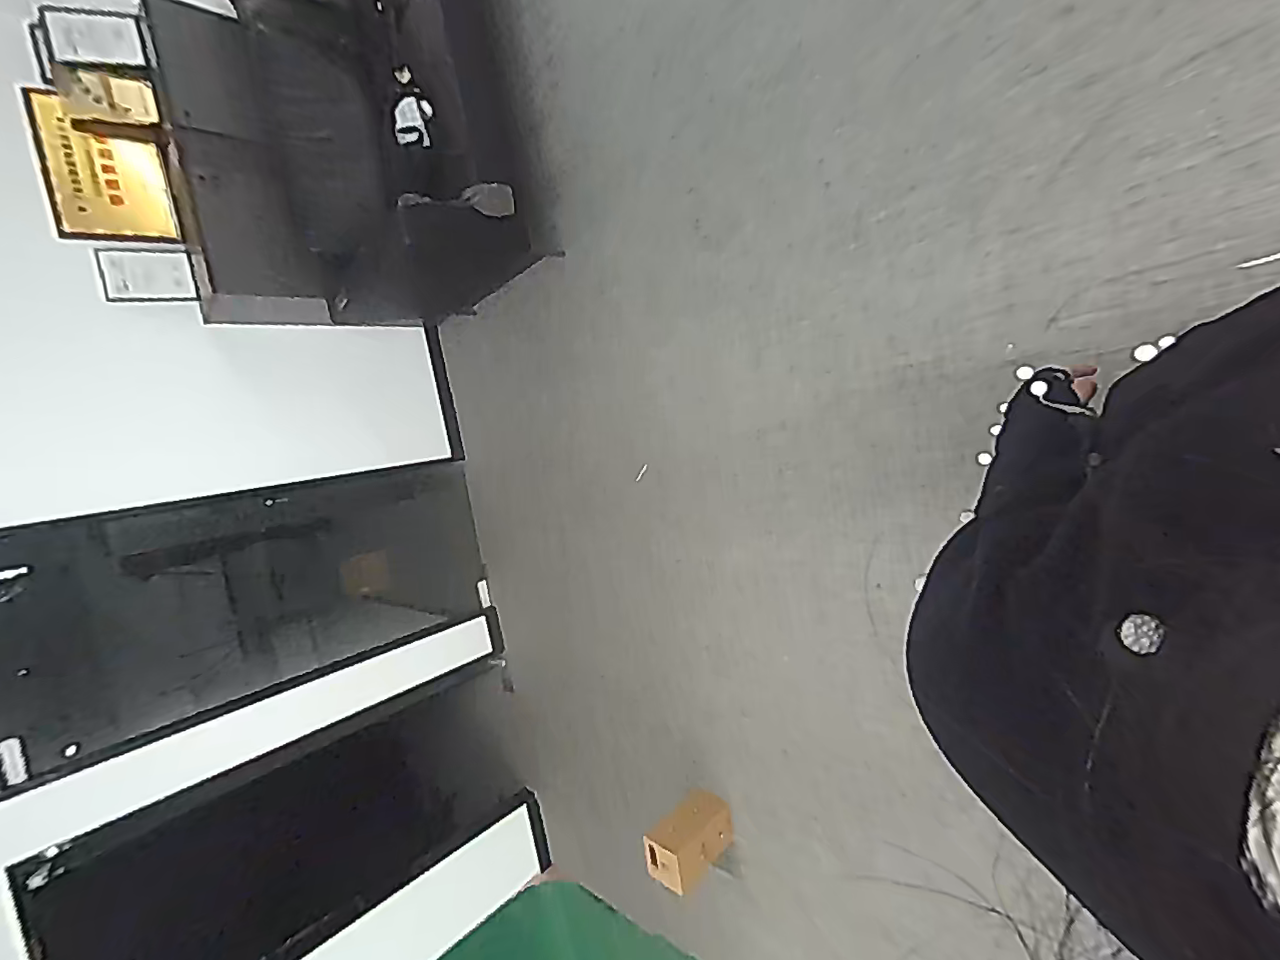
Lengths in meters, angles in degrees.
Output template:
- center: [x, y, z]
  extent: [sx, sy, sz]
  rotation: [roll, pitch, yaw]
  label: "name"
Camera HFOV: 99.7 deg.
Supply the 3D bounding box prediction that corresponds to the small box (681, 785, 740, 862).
- center: [0.293, 1.381, 2.191]
  extent: [0.179, 0.176, 0.168]
  rotation: [2, 101, 46]
  label: "small box"
